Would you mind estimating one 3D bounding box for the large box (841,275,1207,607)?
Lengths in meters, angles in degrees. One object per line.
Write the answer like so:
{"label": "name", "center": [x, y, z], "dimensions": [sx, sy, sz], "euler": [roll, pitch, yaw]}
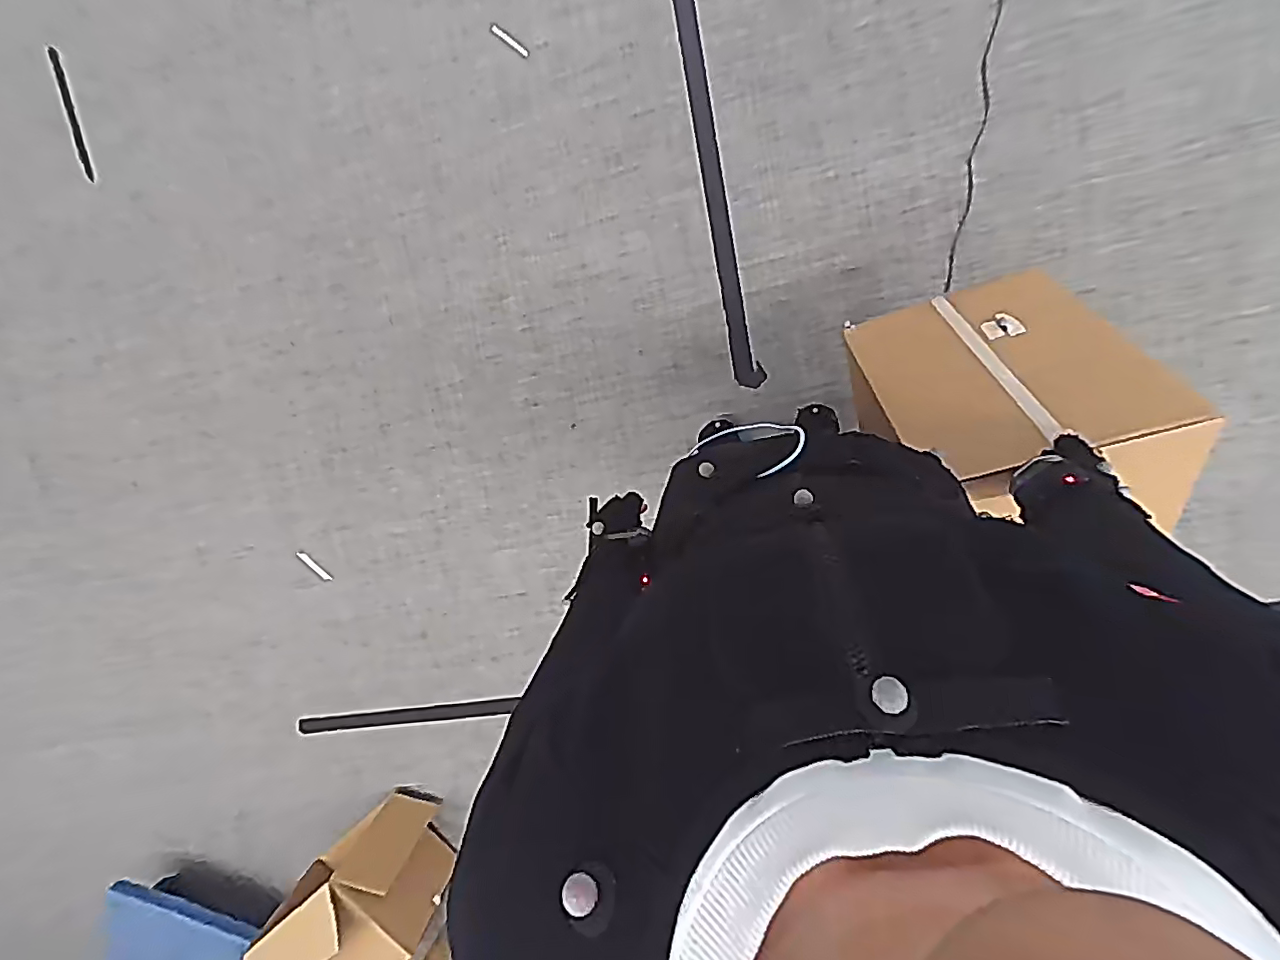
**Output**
{"label": "large box", "center": [0.565, -0.066, 0.893], "dimensions": [0.320, 0.408, 0.320], "euler": [-16, 132, 14]}
